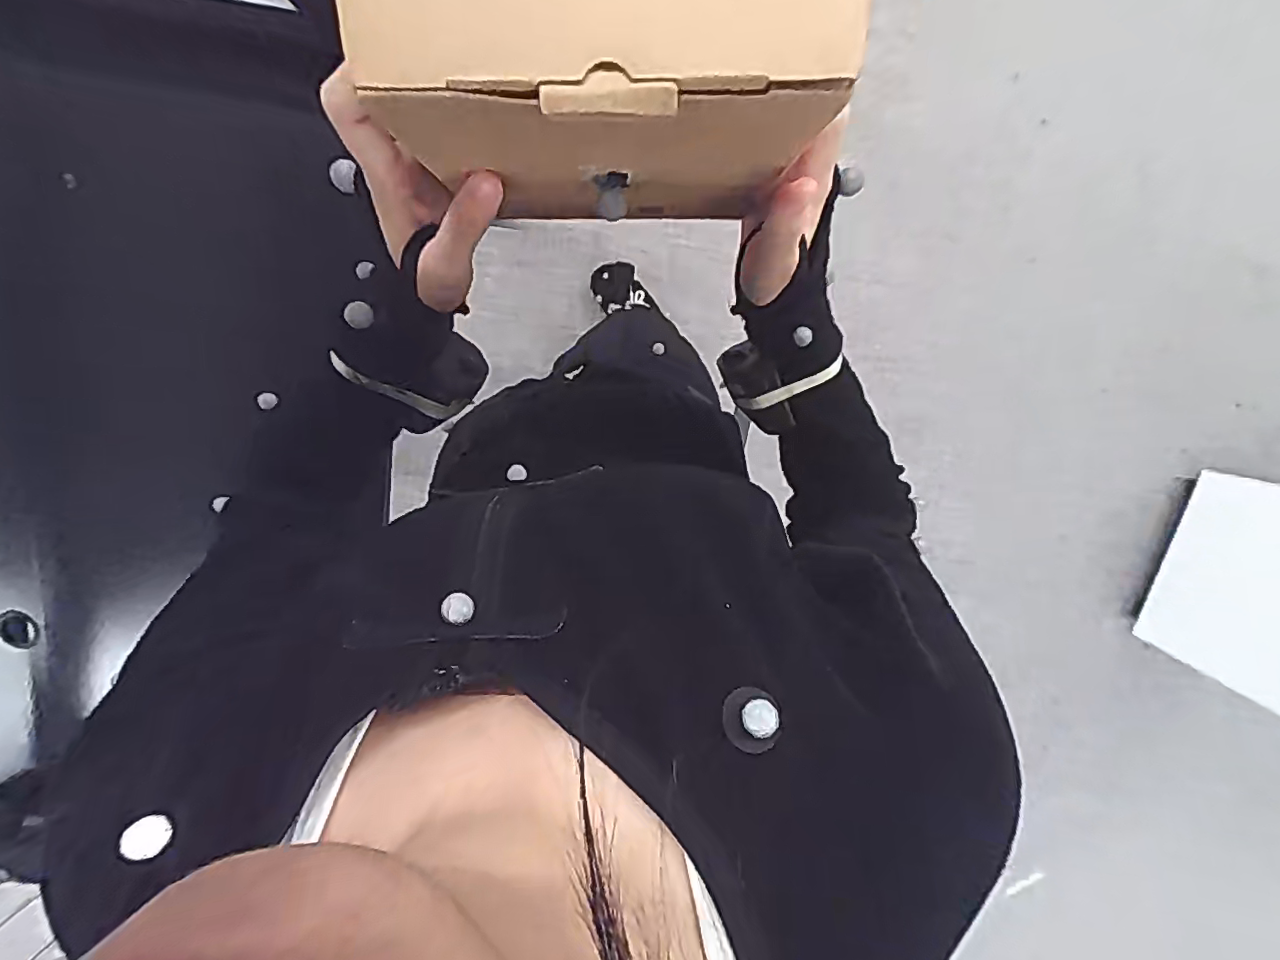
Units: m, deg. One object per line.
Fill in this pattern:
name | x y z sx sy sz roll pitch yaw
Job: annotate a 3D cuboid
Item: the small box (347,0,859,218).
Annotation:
small box | -0.012 -0.225 0.237 0.168 0.176 0.179 0 104 -2
